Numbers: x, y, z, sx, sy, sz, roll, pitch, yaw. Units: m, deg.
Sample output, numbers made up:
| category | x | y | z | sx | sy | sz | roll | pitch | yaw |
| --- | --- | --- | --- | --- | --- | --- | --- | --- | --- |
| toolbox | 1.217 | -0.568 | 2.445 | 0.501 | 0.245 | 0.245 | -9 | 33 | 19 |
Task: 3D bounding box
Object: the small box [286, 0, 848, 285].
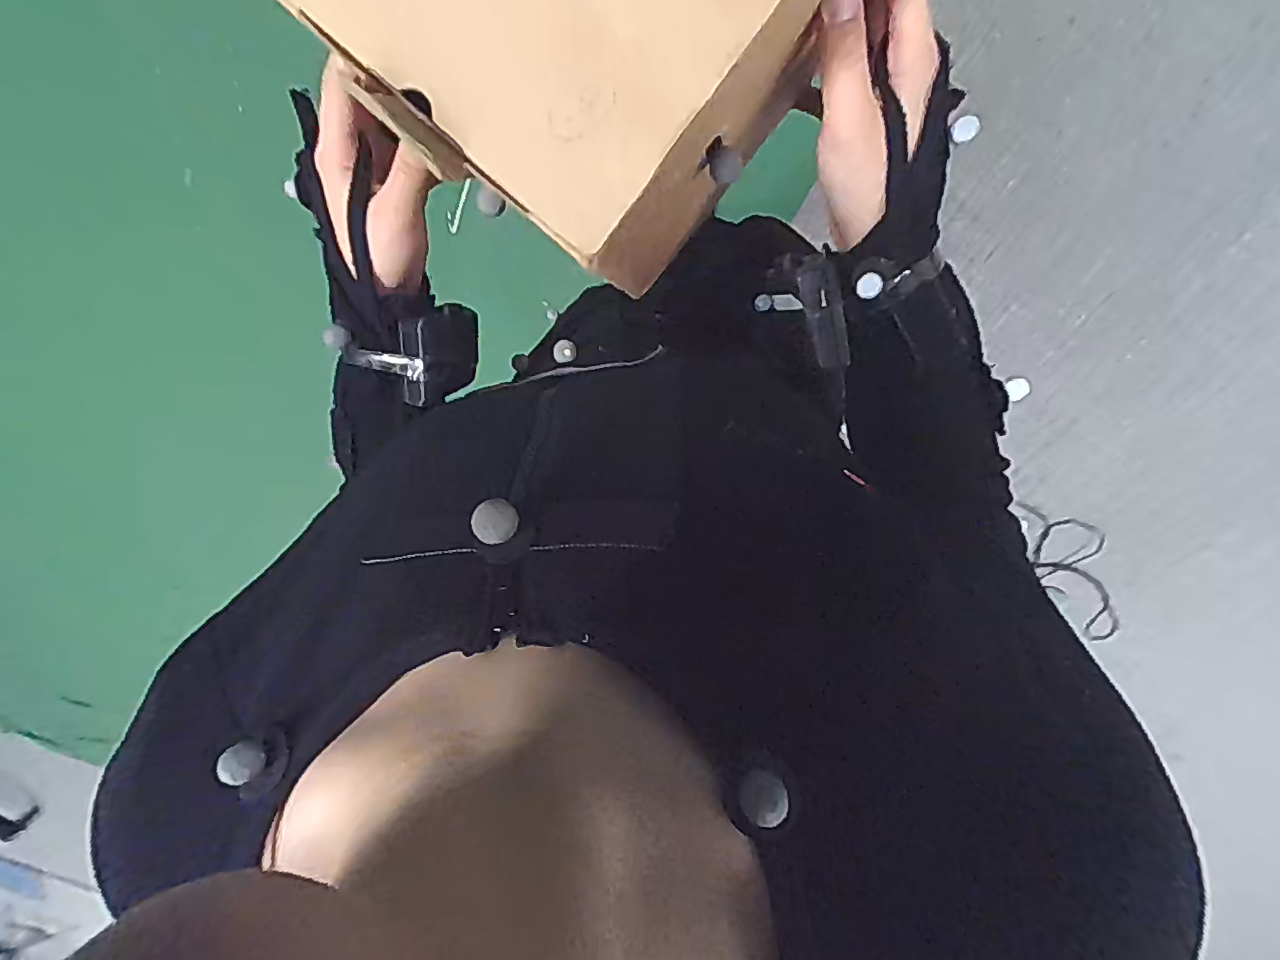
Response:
| category | x | y | z | sx | sy | sz | roll | pitch | yaw |
| --- | --- | --- | --- | --- | --- | --- | --- | --- | --- |
| small box | -0.012 | -0.215 | 0.256 | 0.168 | 0.176 | 0.179 | 40 | 106 | -5 |
